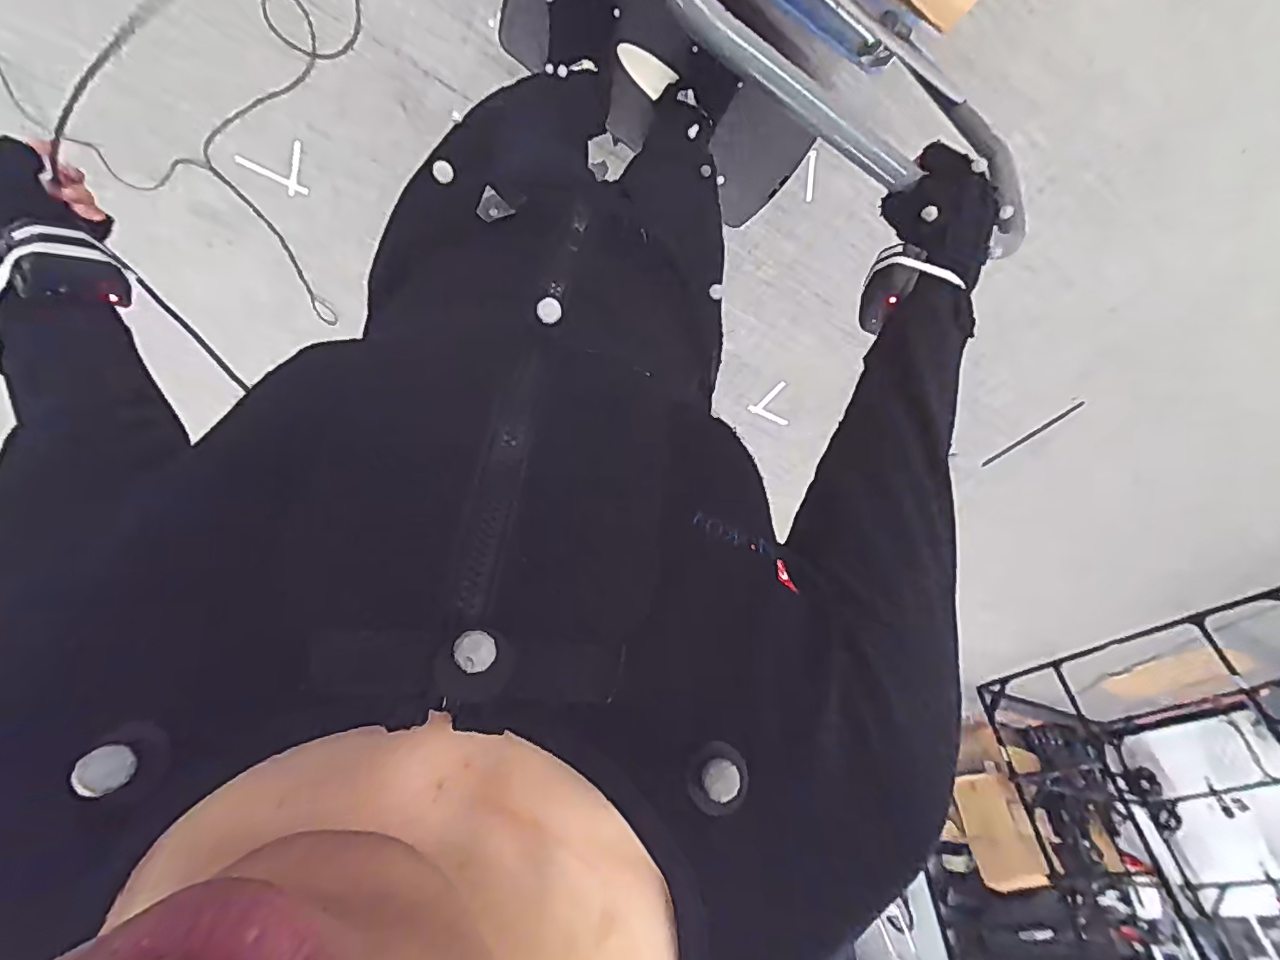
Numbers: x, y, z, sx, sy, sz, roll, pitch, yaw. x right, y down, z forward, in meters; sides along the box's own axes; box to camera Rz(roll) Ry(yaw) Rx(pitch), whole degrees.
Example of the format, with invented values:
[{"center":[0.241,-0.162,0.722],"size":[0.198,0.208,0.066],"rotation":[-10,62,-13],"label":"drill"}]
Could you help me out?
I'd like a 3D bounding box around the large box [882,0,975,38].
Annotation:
[{"center":[0.305,-0.851,0.646],"size":[0.408,0.320,0.320],"rotation":[18,137,-24],"label":"large box"}]
